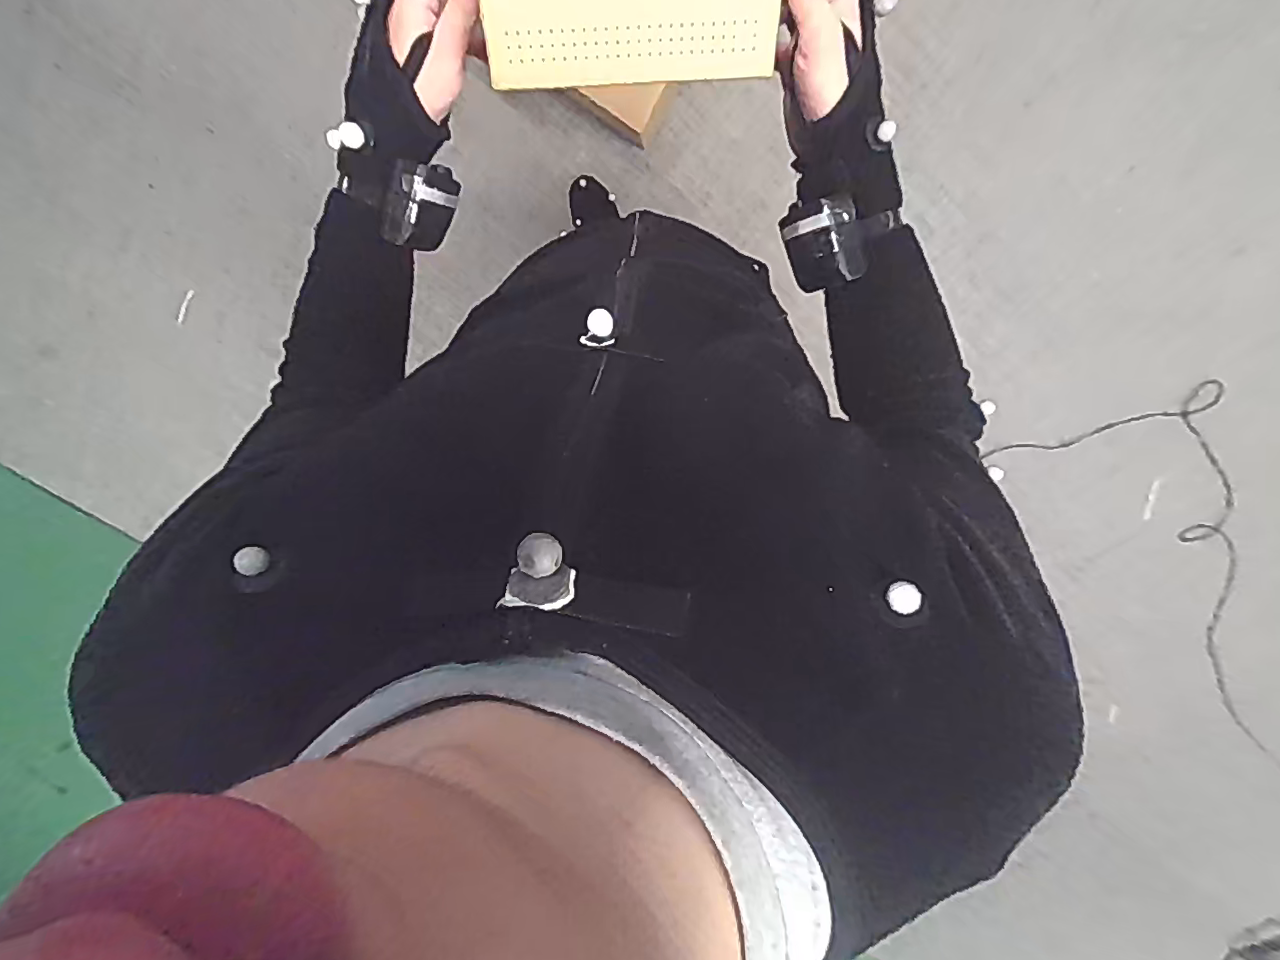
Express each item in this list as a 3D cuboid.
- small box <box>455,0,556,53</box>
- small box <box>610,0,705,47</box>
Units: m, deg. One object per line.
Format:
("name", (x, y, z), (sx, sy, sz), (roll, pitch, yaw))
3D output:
("small box", (-0.222, -0.819, 0.840), (0.168, 0.176, 0.179), (32, 118, -10))
("small box", (0.036, -0.813, 0.822), (0.168, 0.176, 0.179), (28, 113, -10))
